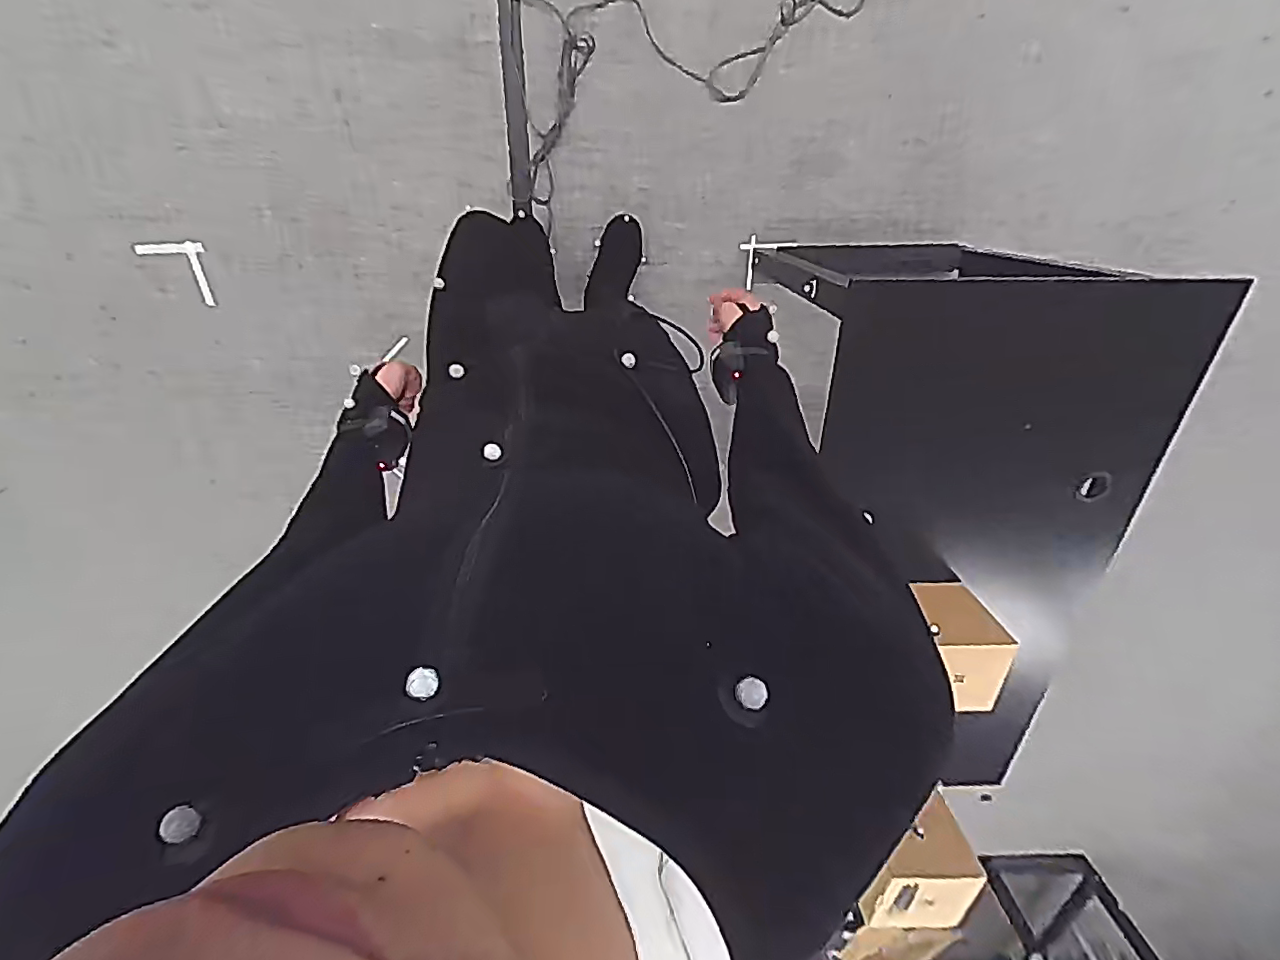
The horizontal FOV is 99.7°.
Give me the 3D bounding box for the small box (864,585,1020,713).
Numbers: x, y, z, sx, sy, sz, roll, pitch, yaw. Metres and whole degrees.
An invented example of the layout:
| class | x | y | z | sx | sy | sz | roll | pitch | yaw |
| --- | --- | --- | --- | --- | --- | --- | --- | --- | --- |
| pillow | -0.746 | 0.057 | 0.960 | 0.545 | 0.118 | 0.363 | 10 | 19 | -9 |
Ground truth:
| class | x | y | z | sx | sy | sz | roll | pitch | yaw |
| --- | --- | --- | --- | --- | --- | --- | --- | --- | --- |
| small box | 0.550 | 0.310 | 1.012 | 0.179 | 0.176 | 0.168 | -1 | 118 | -1 |
